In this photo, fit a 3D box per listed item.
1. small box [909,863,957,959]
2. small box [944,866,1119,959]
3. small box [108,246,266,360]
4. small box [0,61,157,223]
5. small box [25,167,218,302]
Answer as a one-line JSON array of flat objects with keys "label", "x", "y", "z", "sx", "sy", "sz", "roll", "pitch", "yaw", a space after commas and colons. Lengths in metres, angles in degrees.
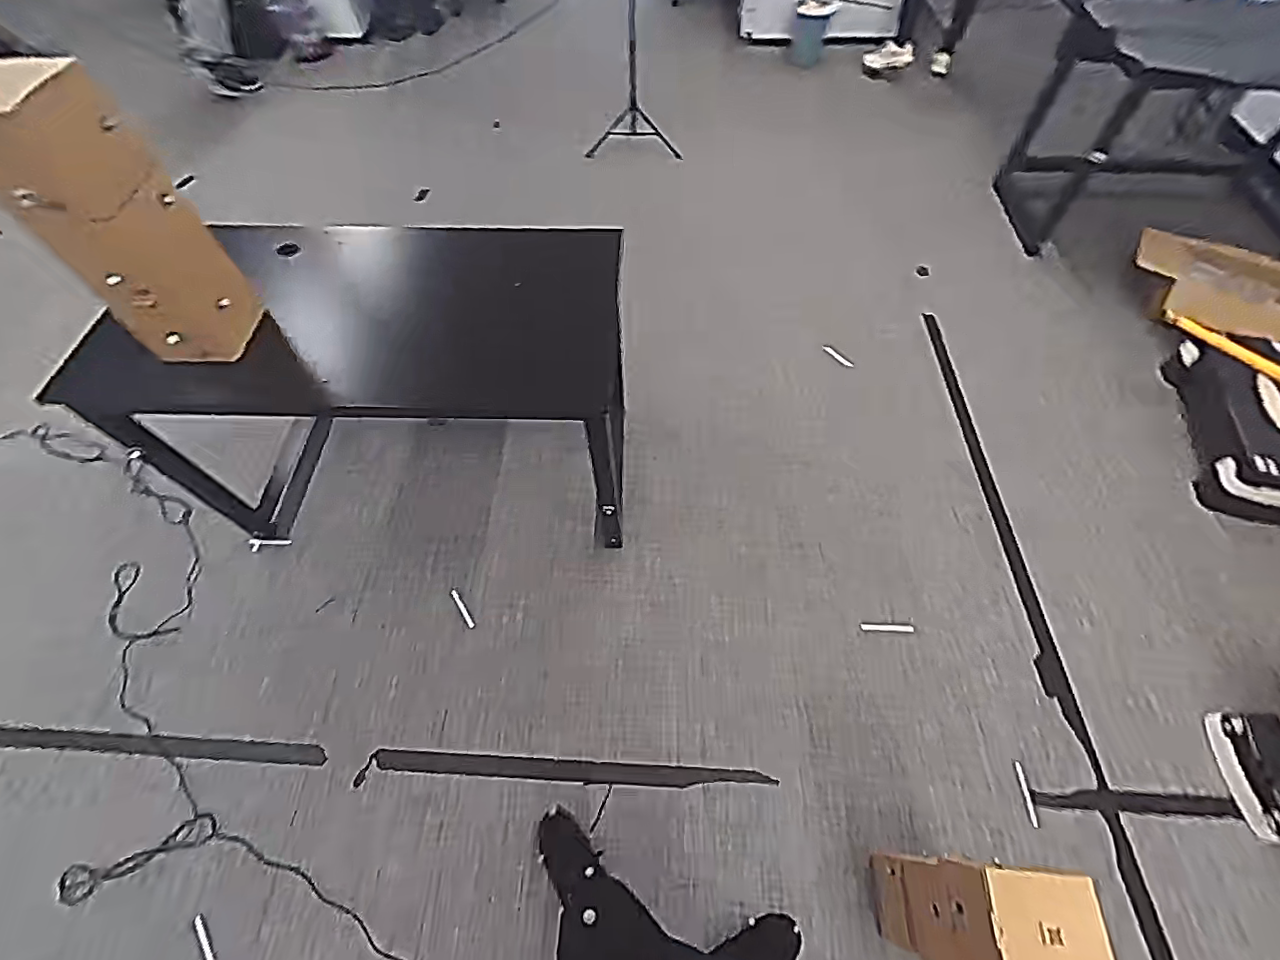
[{"label": "small box", "x": 0.644, "y": 0.853, "z": 1.039, "sx": 0.168, "sy": 0.176, "sz": 0.179, "roll": 2, "pitch": 60, "yaw": 2}, {"label": "small box", "x": 0.649, "y": 0.760, "z": 0.905, "sx": 0.179, "sy": 0.176, "sz": 0.168, "roll": 3, "pitch": 59, "yaw": 3}, {"label": "small box", "x": -0.949, "y": -0.373, "z": 1.157, "sx": 0.168, "sy": 0.176, "sz": 0.179, "roll": 0, "pitch": 59, "yaw": 0}, {"label": "small box", "x": -0.952, "y": -0.546, "z": 0.878, "sx": 0.168, "sy": 0.176, "sz": 0.179, "roll": 0, "pitch": 59, "yaw": 2}, {"label": "small box", "x": -0.951, "y": -0.461, "z": 1.017, "sx": 0.168, "sy": 0.176, "sz": 0.179, "roll": 0, "pitch": 59, "yaw": 2}]
